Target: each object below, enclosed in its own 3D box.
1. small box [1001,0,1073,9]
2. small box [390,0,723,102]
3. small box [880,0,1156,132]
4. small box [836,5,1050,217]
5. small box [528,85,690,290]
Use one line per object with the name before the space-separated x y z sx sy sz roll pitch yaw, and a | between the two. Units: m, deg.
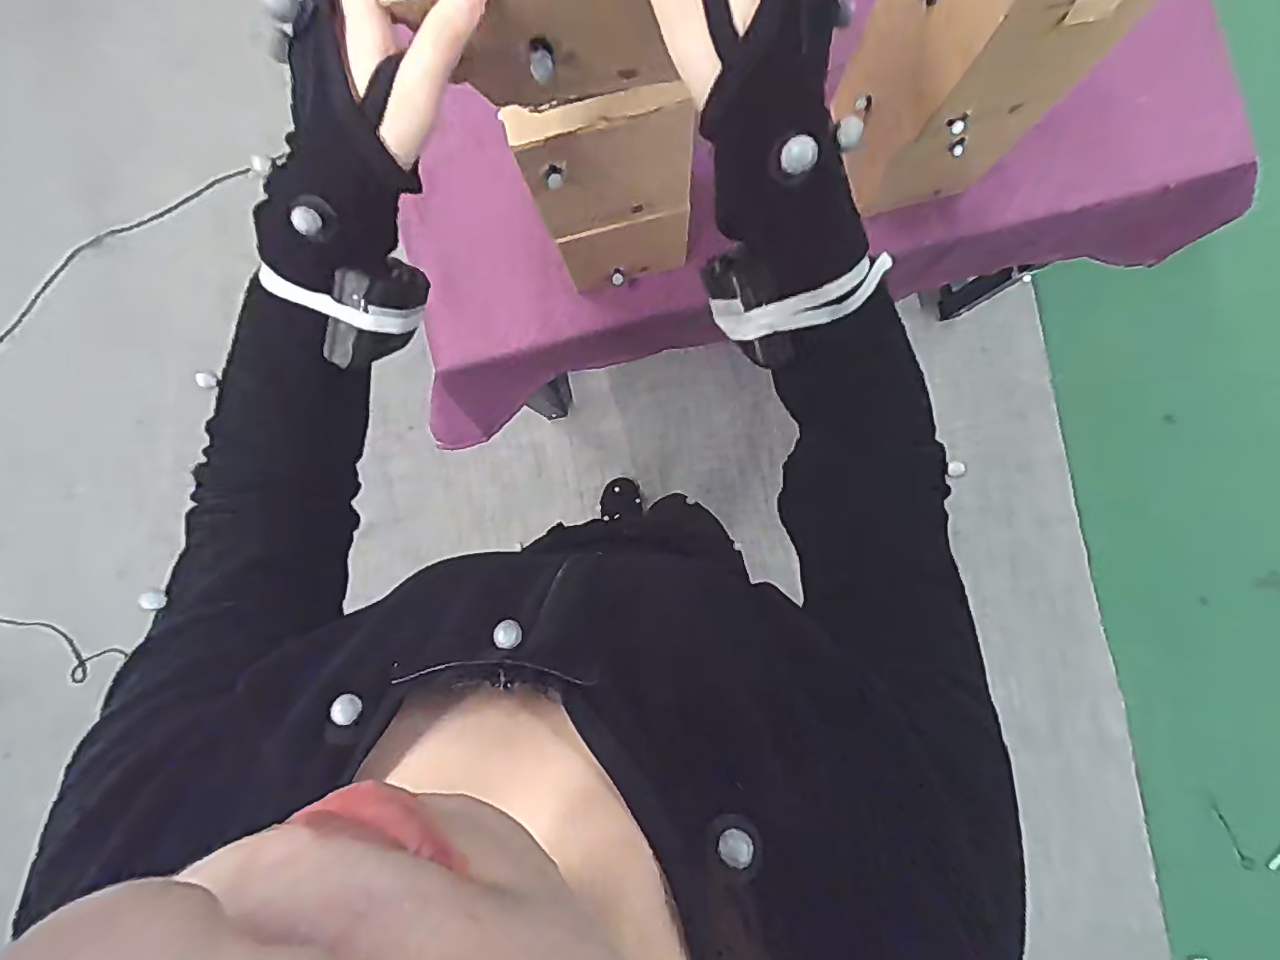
small box | 0.364 -0.481 0.371 0.179 0.176 0.168 -13 90 2
small box | -0.040 -0.336 0.297 0.168 0.176 0.179 -4 108 7
small box | 0.367 -0.484 0.536 0.168 0.176 0.179 -14 88 2
small box | 0.372 -0.480 0.700 0.168 0.176 0.179 -14 88 3
small box | -0.035 -0.379 0.715 0.168 0.176 0.179 -13 89 2
